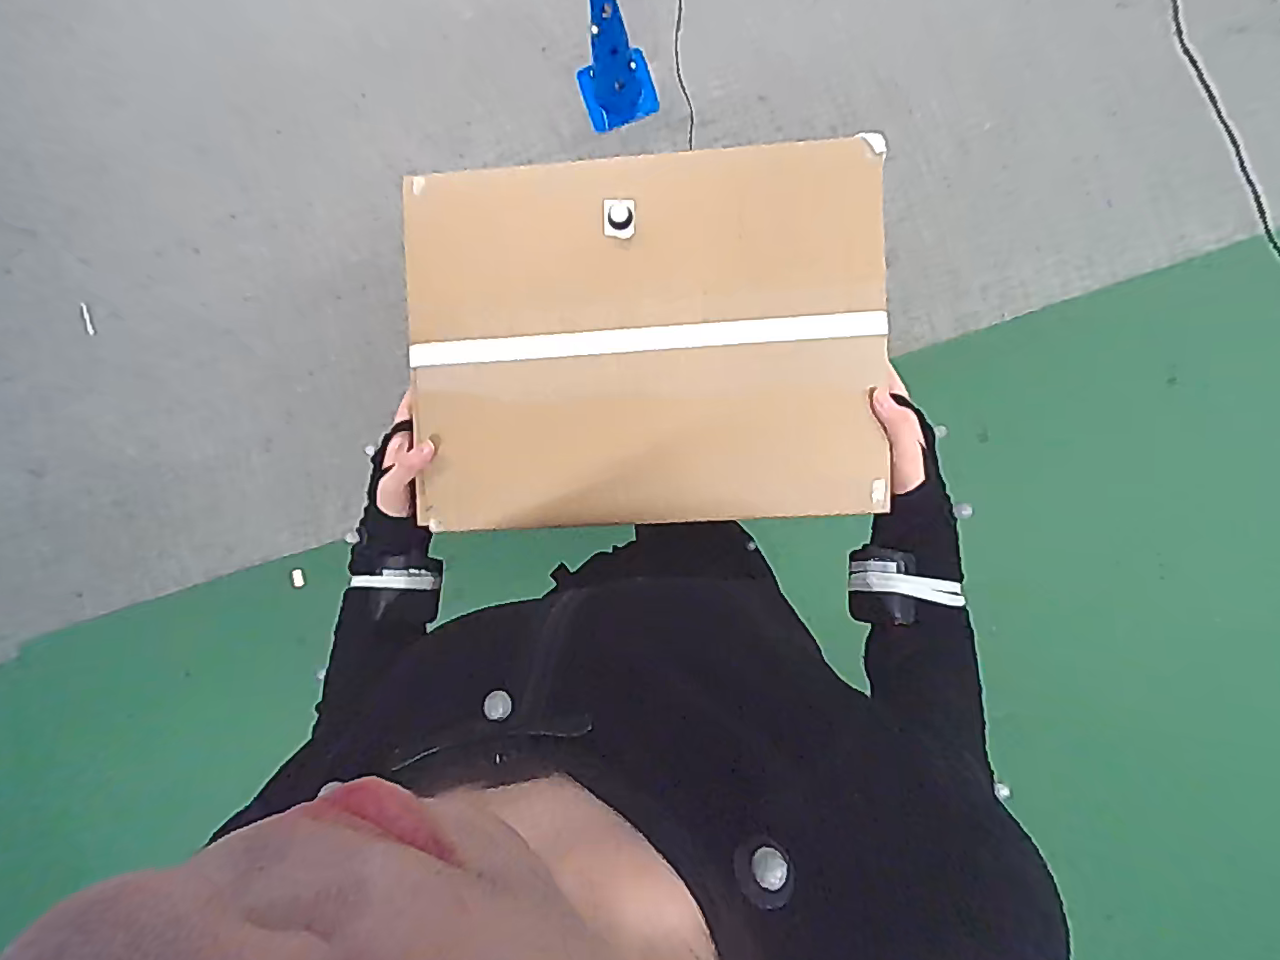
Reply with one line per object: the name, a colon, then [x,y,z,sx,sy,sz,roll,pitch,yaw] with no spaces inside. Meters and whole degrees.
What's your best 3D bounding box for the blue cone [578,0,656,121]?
blue cone: [-0.079,-1.117,1.349,0.193,0.380,0.192,-21,87,5]
